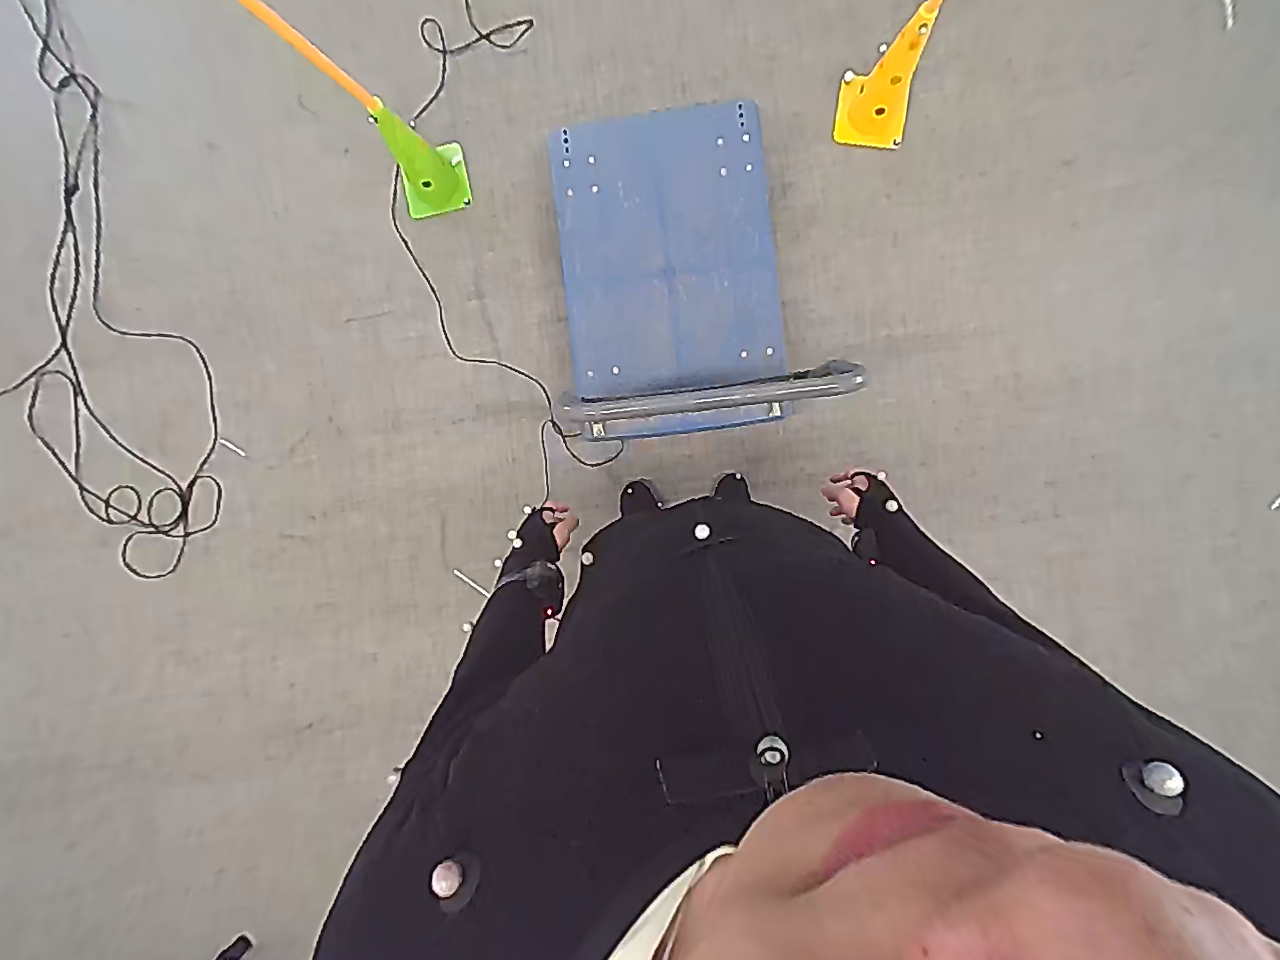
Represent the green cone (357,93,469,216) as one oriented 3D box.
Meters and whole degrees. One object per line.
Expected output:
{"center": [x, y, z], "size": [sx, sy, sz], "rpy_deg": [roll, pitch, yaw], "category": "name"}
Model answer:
{"center": [-0.645, -0.922, 1.481], "size": [0.202, 0.368, 0.200], "rpy_deg": [-12, 90, 5], "category": "green cone"}
